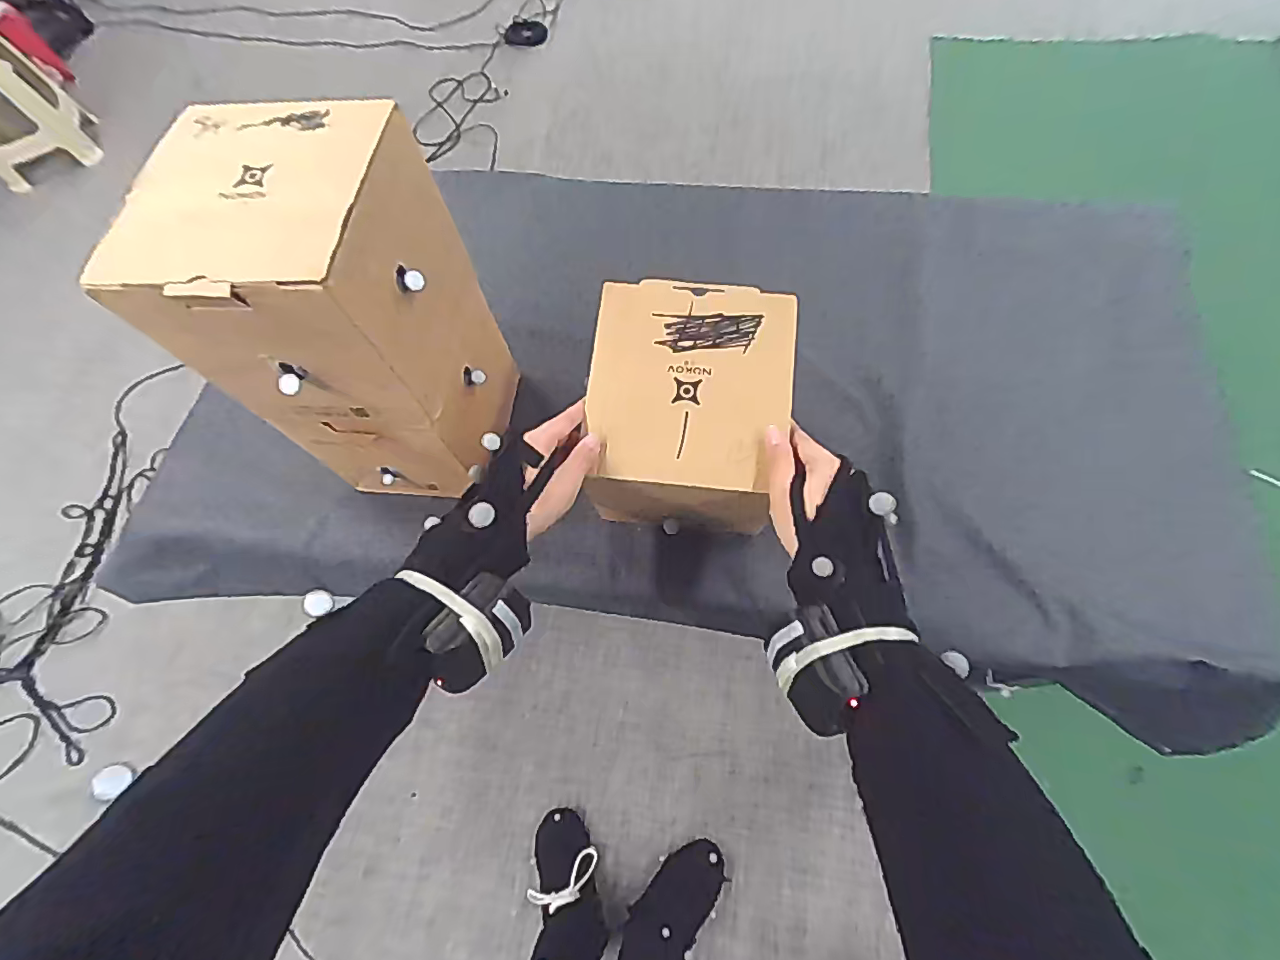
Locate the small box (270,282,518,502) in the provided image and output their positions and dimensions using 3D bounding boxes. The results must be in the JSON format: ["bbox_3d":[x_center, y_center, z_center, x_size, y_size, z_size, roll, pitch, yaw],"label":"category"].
[{"bbox_3d":[-0.243,-0.093,0.588,0.168,0.176,0.179,3,66,6],"label":"small box"}]

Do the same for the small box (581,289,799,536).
[{"bbox_3d":[0.049,-0.054,0.517,0.168,0.176,0.179,5,74,6],"label":"small box"}]

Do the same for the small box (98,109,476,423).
[{"bbox_3d":[-0.250,-0.158,0.438,0.168,0.176,0.179,2,66,5],"label":"small box"}]
